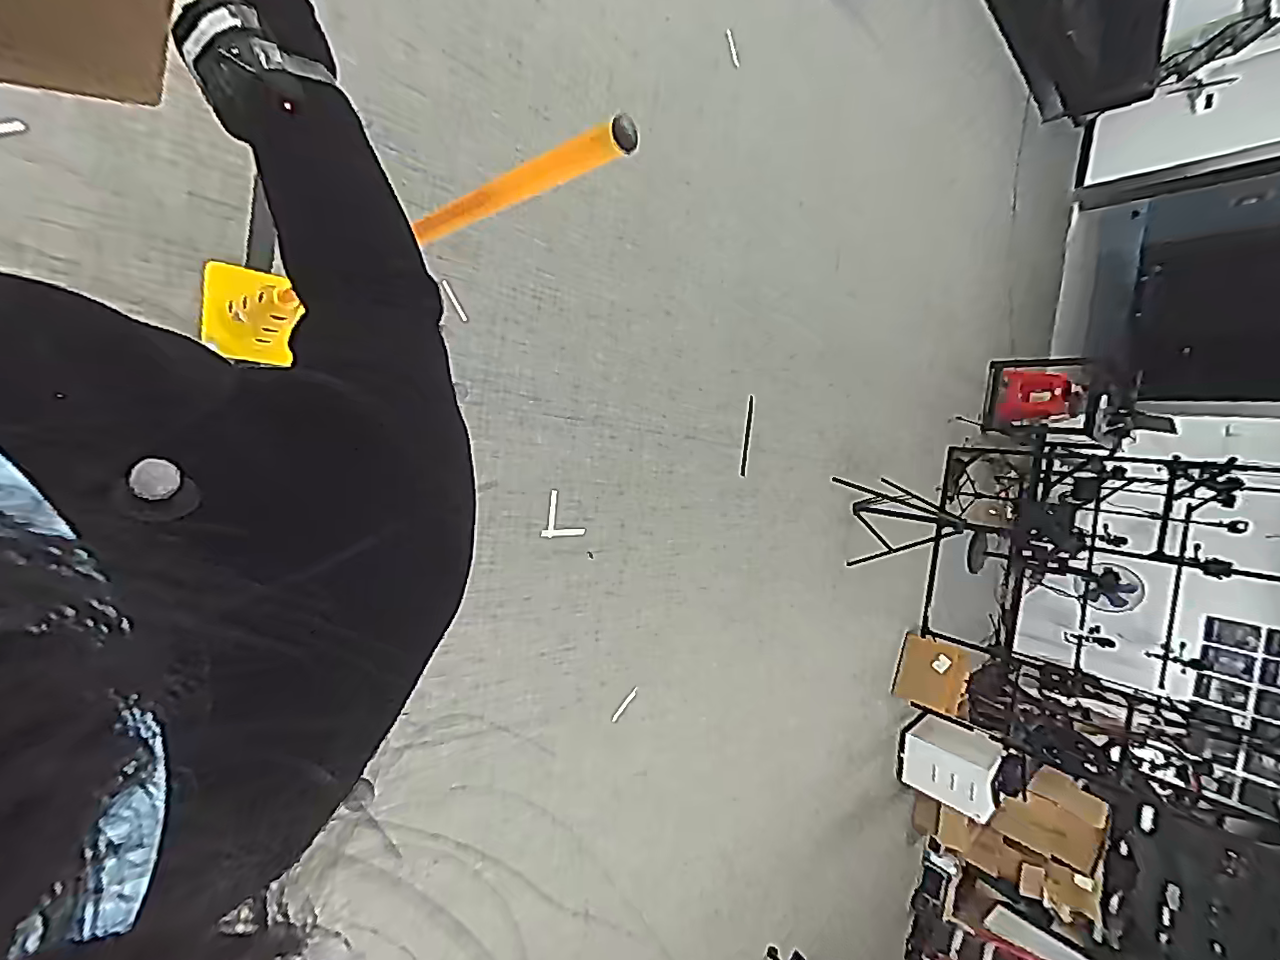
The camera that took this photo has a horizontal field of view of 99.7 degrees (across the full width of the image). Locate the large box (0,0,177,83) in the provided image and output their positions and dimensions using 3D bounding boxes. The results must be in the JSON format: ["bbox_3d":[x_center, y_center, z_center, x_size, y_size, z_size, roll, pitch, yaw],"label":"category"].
[{"bbox_3d":[-0.553,-0.475,0.291,0.408,0.320,0.320,-18,112,-39],"label":"large box"}]
